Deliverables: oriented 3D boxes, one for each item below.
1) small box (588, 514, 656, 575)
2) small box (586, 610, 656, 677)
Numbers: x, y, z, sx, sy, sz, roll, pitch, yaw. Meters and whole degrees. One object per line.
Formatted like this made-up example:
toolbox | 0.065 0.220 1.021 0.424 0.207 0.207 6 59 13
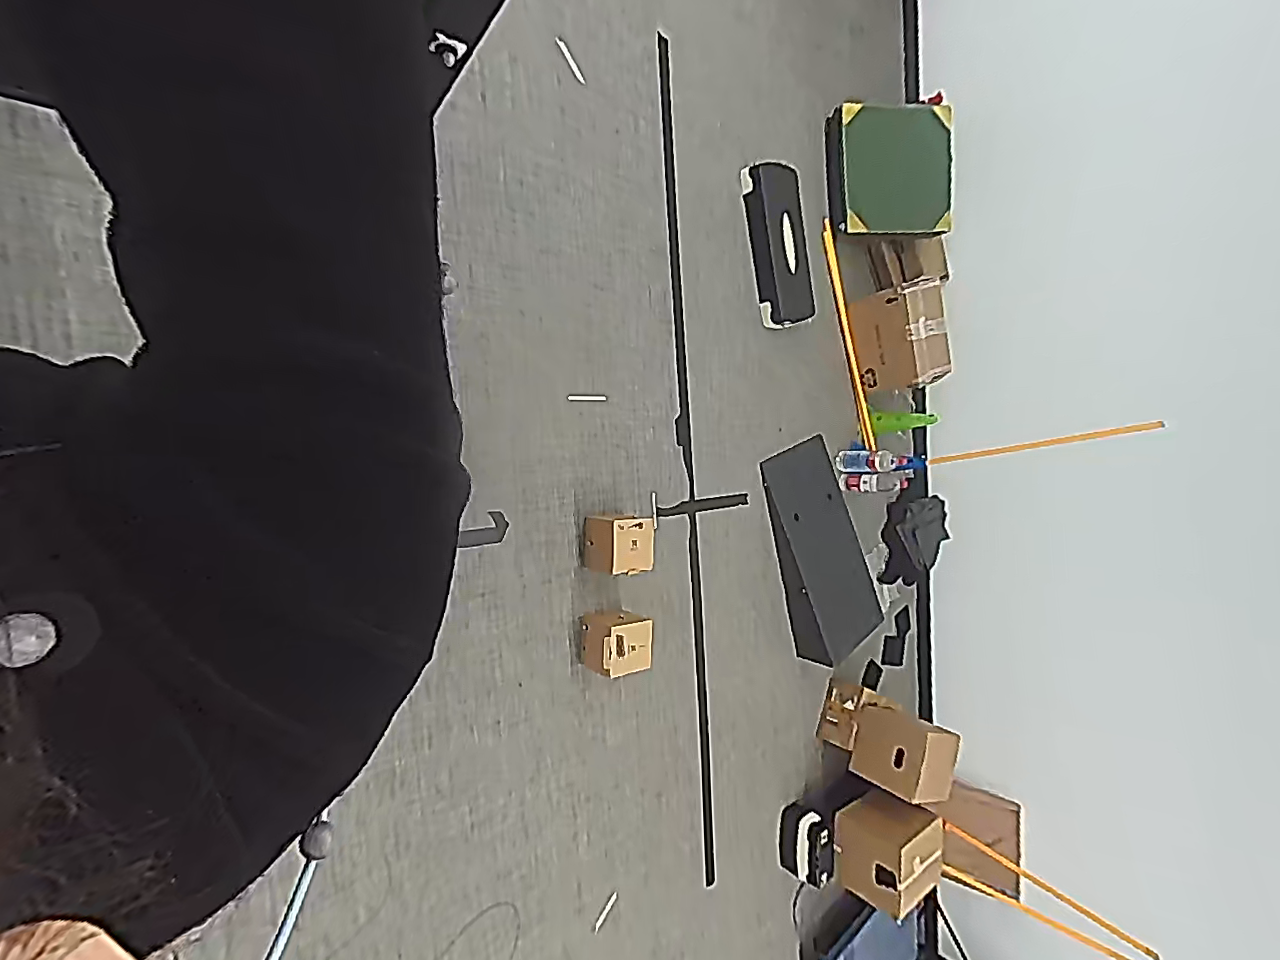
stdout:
small box | -0.063 0.208 1.803 0.168 0.176 0.179 0 92 -39
small box | -0.067 0.540 1.808 0.179 0.176 0.168 1 91 -40
